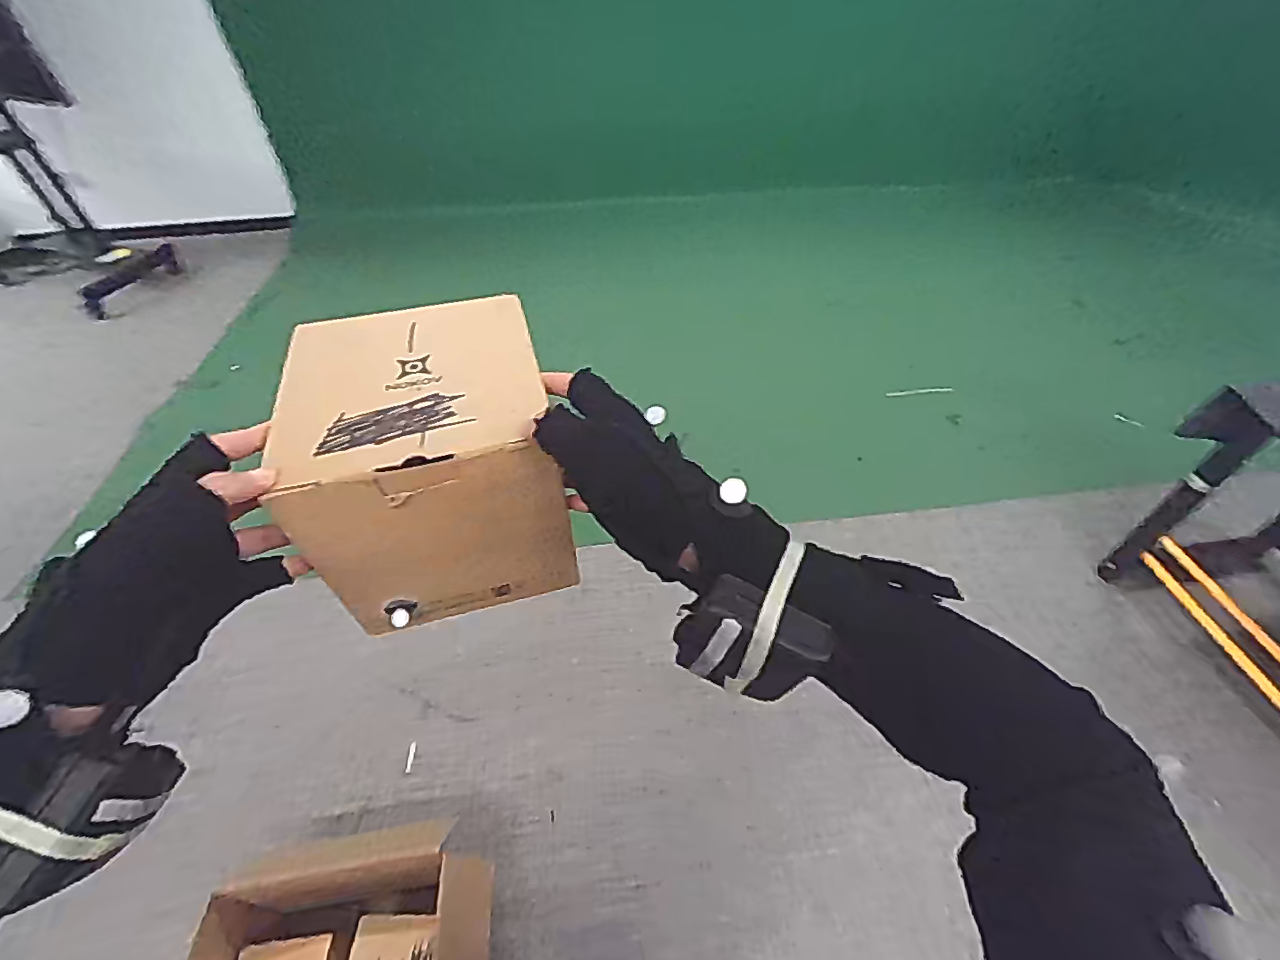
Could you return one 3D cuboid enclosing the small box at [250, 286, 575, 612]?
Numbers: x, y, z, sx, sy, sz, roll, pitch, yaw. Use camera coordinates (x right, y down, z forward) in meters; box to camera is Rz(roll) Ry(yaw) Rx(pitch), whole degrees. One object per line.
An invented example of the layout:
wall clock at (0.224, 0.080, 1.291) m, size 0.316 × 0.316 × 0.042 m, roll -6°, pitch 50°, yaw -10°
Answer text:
small box at (-0.150, -0.019, 0.412) m, size 0.168 × 0.176 × 0.179 m, roll -12°, pitch 49°, yaw -10°
